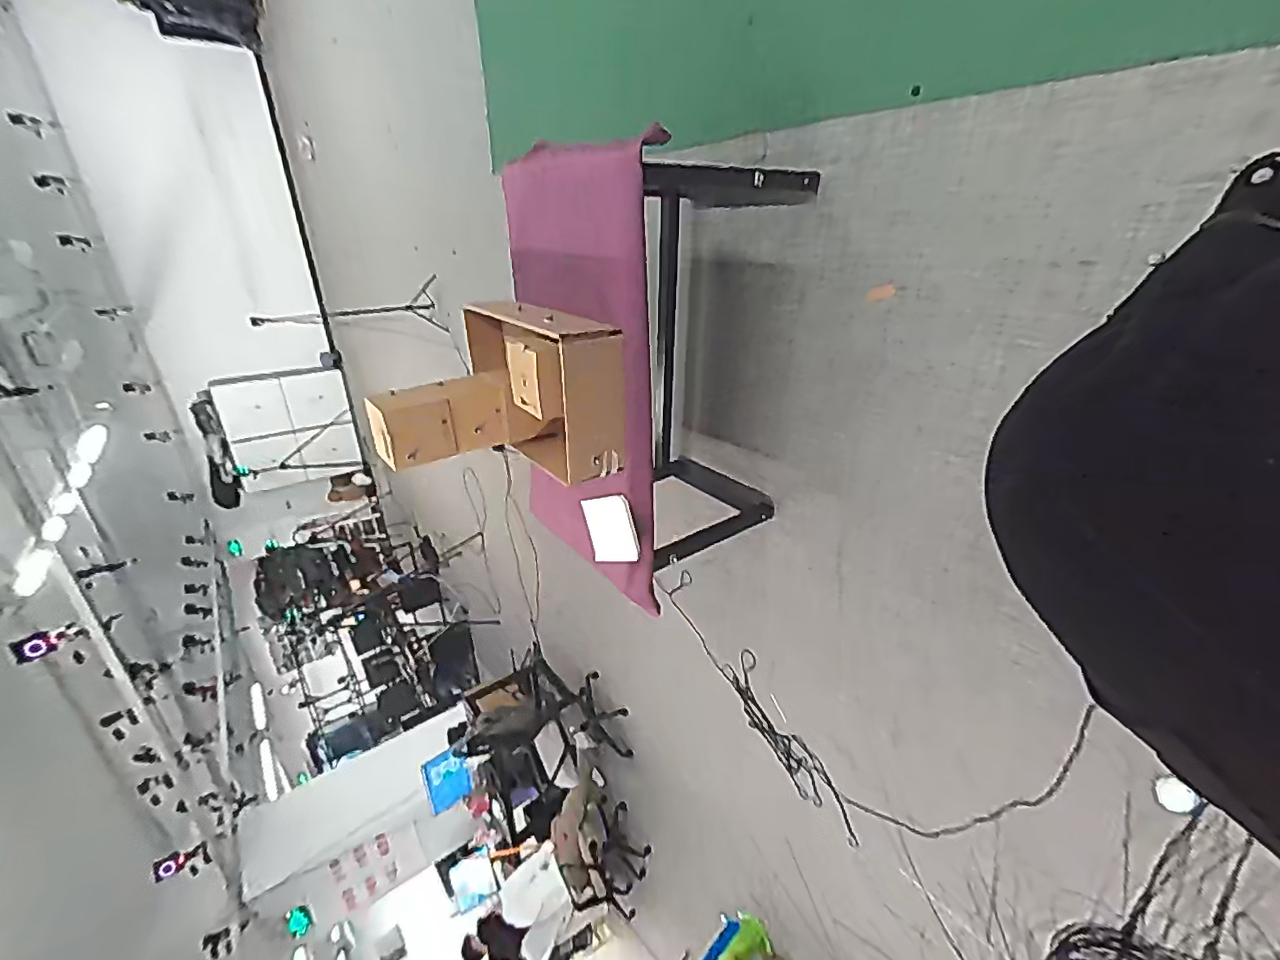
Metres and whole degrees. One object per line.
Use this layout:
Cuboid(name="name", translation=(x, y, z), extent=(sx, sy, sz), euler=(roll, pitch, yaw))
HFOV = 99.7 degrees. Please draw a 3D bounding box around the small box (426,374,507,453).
Cuboid(name="small box", translation=(-0.494, -0.200, 1.565), extent=(0.179, 0.176, 0.168), euler=(31, 130, 43))
